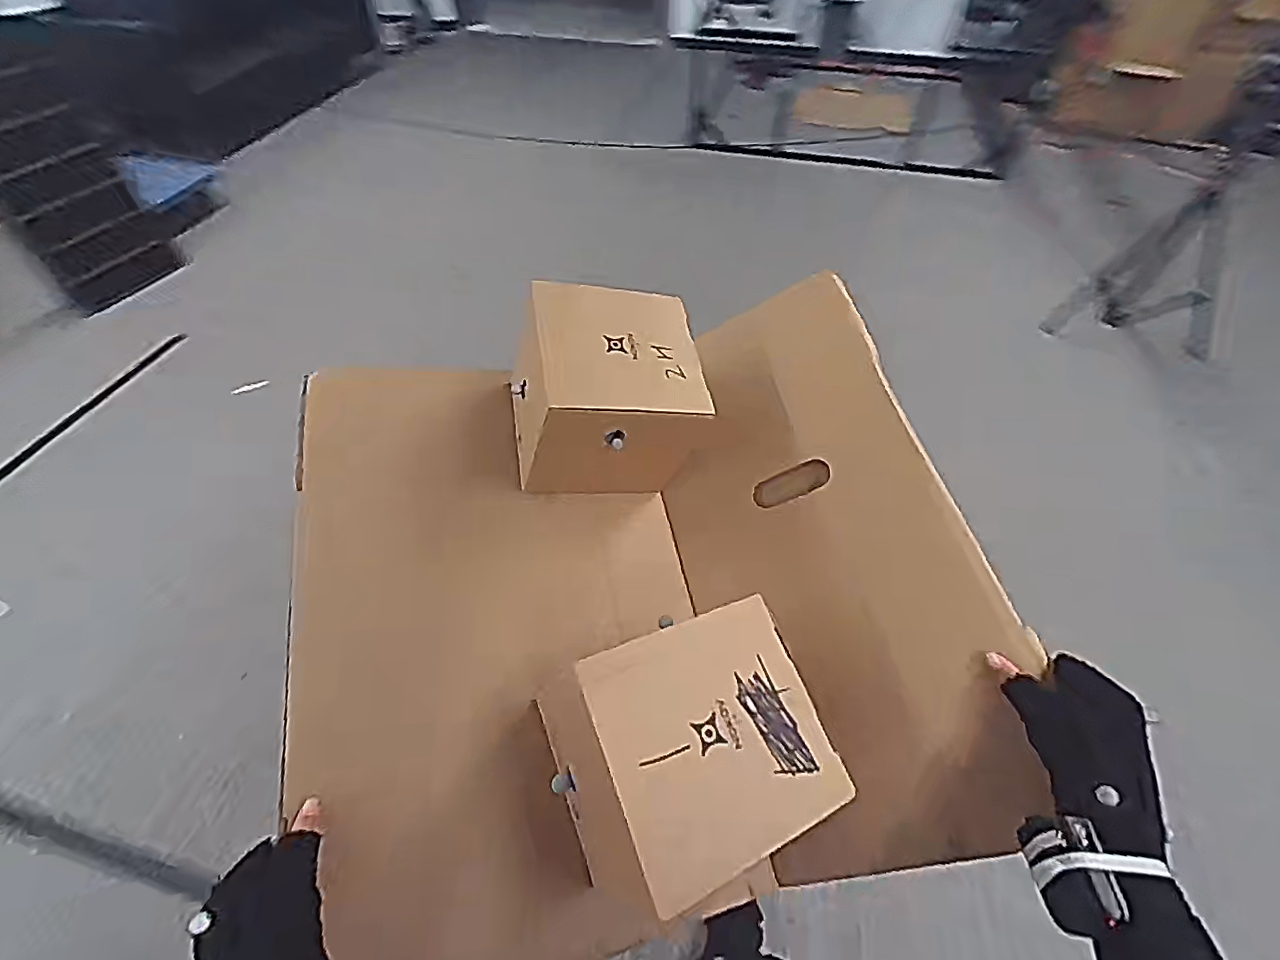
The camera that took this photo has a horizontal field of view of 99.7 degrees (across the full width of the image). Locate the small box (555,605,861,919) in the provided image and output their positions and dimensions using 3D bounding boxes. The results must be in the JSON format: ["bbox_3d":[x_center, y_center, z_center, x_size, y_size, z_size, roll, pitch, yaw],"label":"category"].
[{"bbox_3d":[0.042,0.229,0.471,0.179,0.176,0.168,-12,66,-25],"label":"small box"}]
